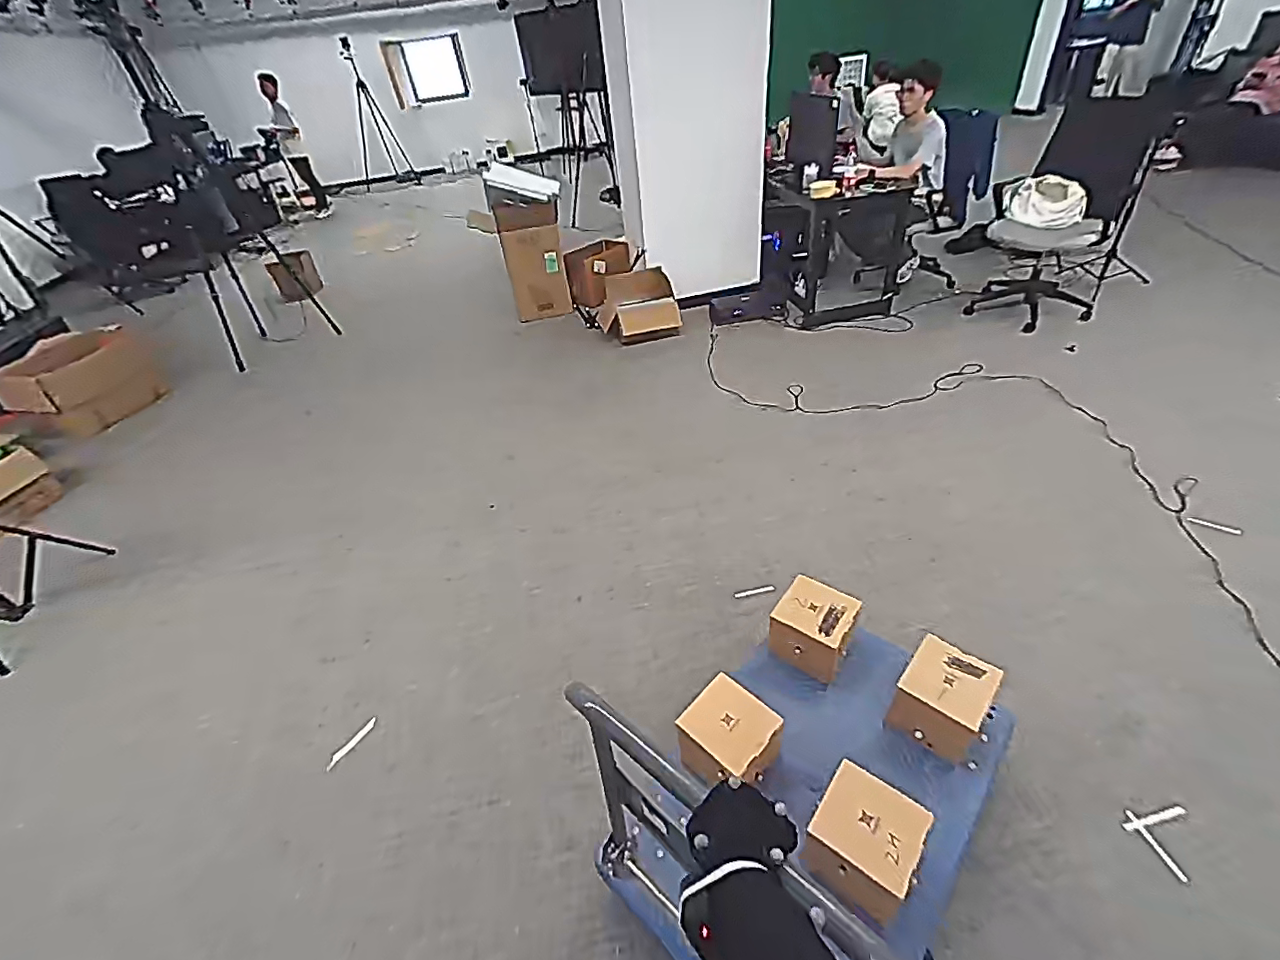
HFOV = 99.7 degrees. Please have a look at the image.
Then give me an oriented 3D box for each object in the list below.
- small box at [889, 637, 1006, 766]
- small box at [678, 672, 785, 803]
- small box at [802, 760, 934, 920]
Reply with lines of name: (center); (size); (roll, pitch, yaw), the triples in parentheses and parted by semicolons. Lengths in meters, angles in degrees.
small box: (0.692, 0.504, 1.233); (0.168, 0.176, 0.179); (28, 52, 36)
small box: (0.203, 0.582, 1.222); (0.168, 0.176, 0.179); (-35, 48, -30)
small box: (0.430, 0.694, 1.044); (0.179, 0.176, 0.168); (25, 49, 34)
